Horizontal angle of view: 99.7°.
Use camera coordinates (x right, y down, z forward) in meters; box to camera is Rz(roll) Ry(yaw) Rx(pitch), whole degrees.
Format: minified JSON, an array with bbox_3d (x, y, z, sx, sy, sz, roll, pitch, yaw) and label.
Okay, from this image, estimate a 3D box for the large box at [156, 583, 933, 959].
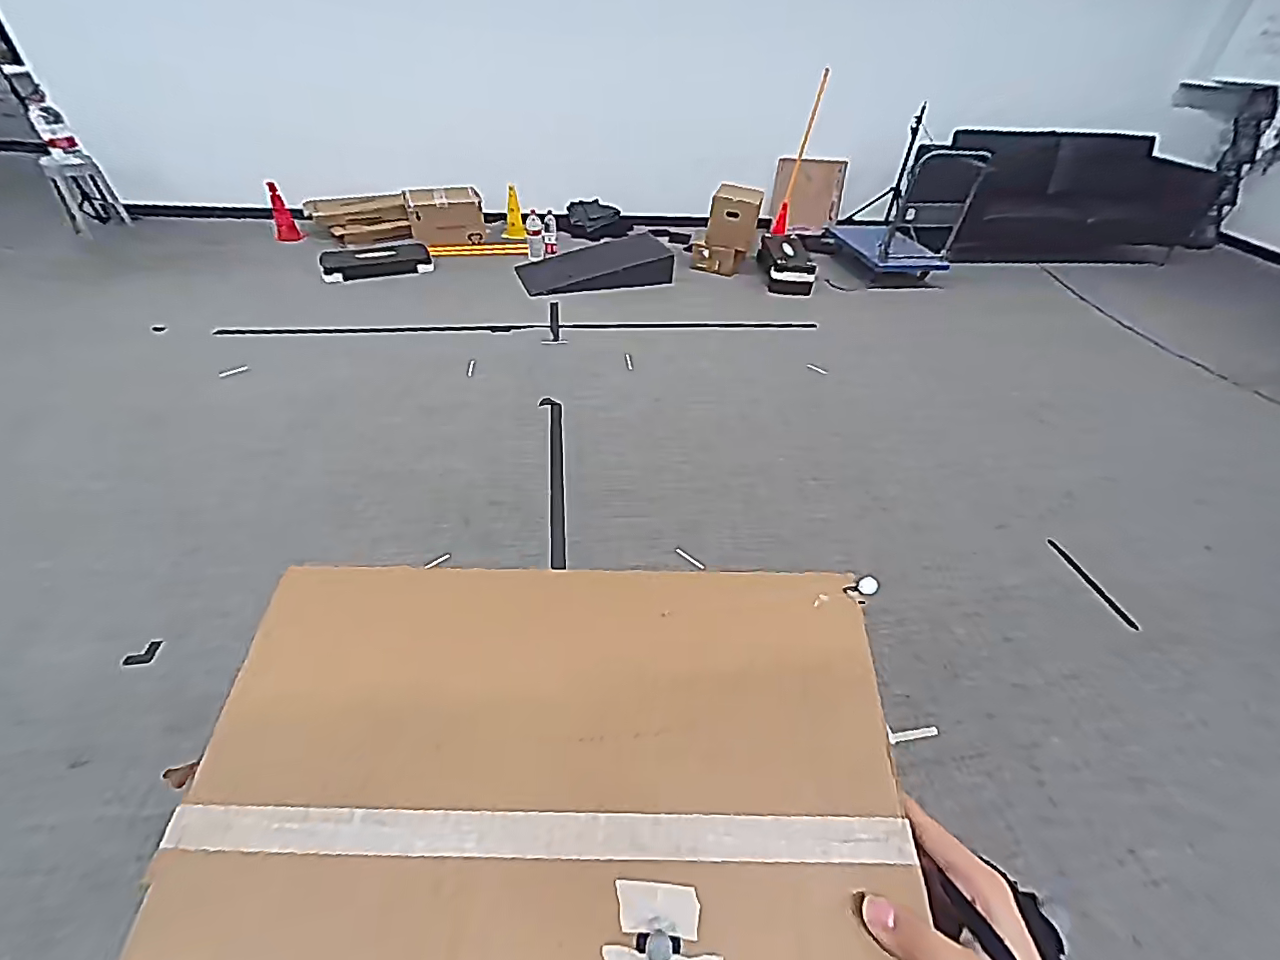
[{"bbox_3d":[-0.049,0.286,0.427,0.408,0.320,0.320,1,57,0],"label":"large box"}]
